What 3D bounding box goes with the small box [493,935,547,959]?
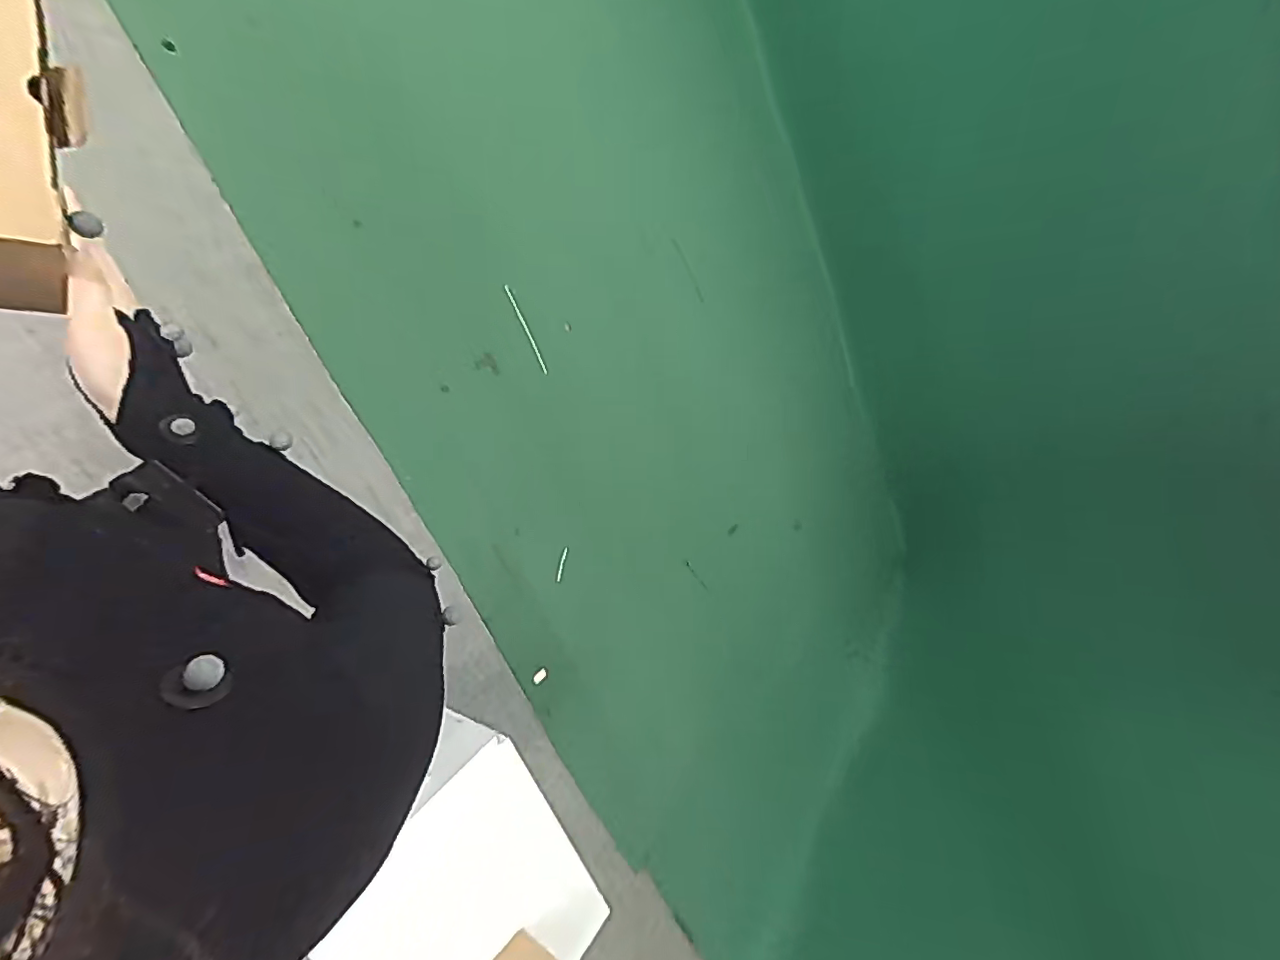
[{"bbox_3d":[-0.205,0.942,0.918,0.179,0.176,0.168,-28,105,-44],"label":"small box"}]
